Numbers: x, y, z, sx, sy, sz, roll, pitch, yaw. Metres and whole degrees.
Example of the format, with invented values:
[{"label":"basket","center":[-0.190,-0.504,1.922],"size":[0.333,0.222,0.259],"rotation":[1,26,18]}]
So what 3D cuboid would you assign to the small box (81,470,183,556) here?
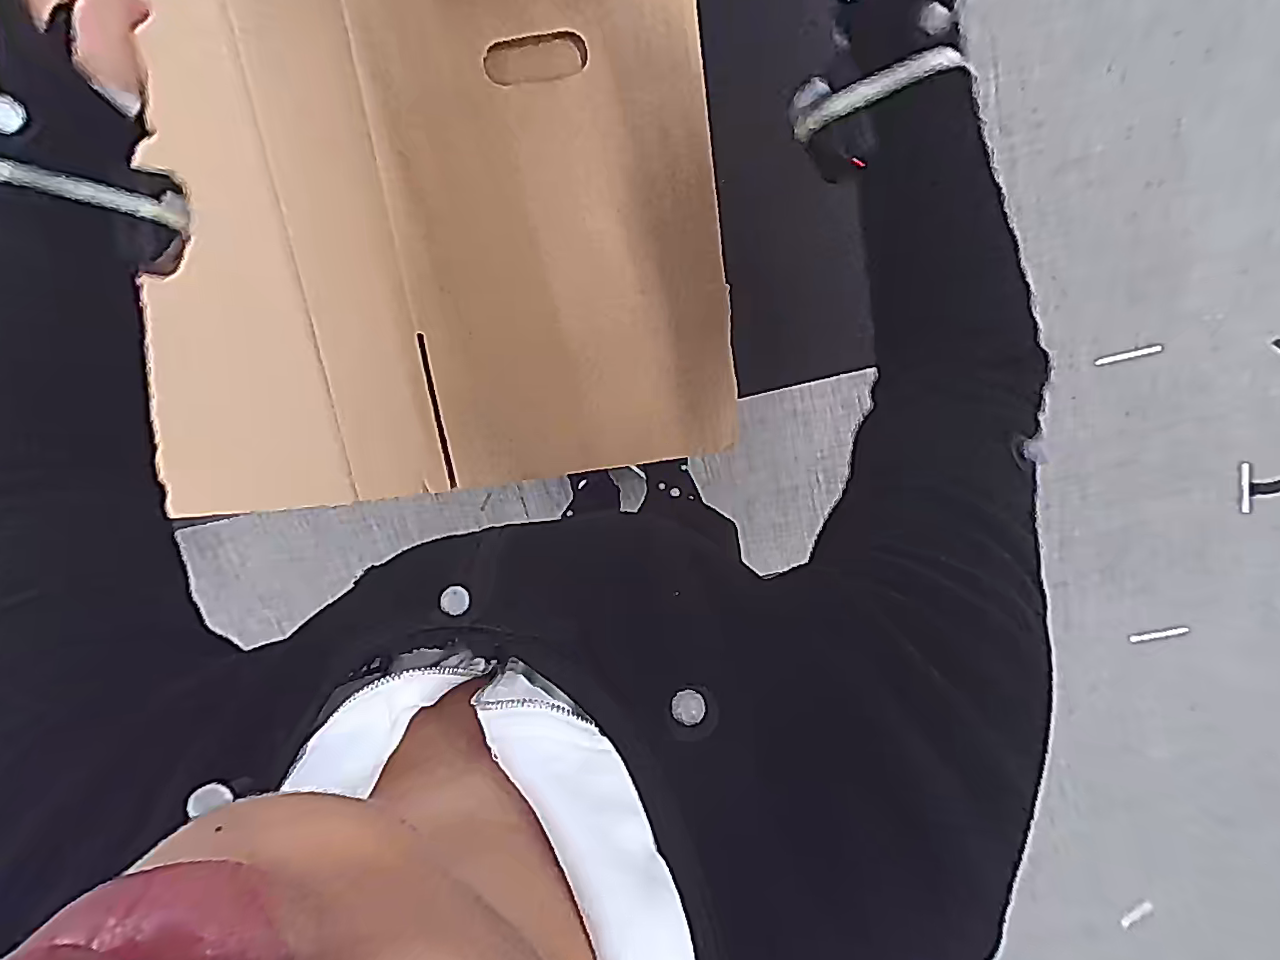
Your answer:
[{"label":"small box","center":[-1.422,0.080,1.476],"size":[0.168,0.176,0.179],"rotation":[-17,103,6]}]
